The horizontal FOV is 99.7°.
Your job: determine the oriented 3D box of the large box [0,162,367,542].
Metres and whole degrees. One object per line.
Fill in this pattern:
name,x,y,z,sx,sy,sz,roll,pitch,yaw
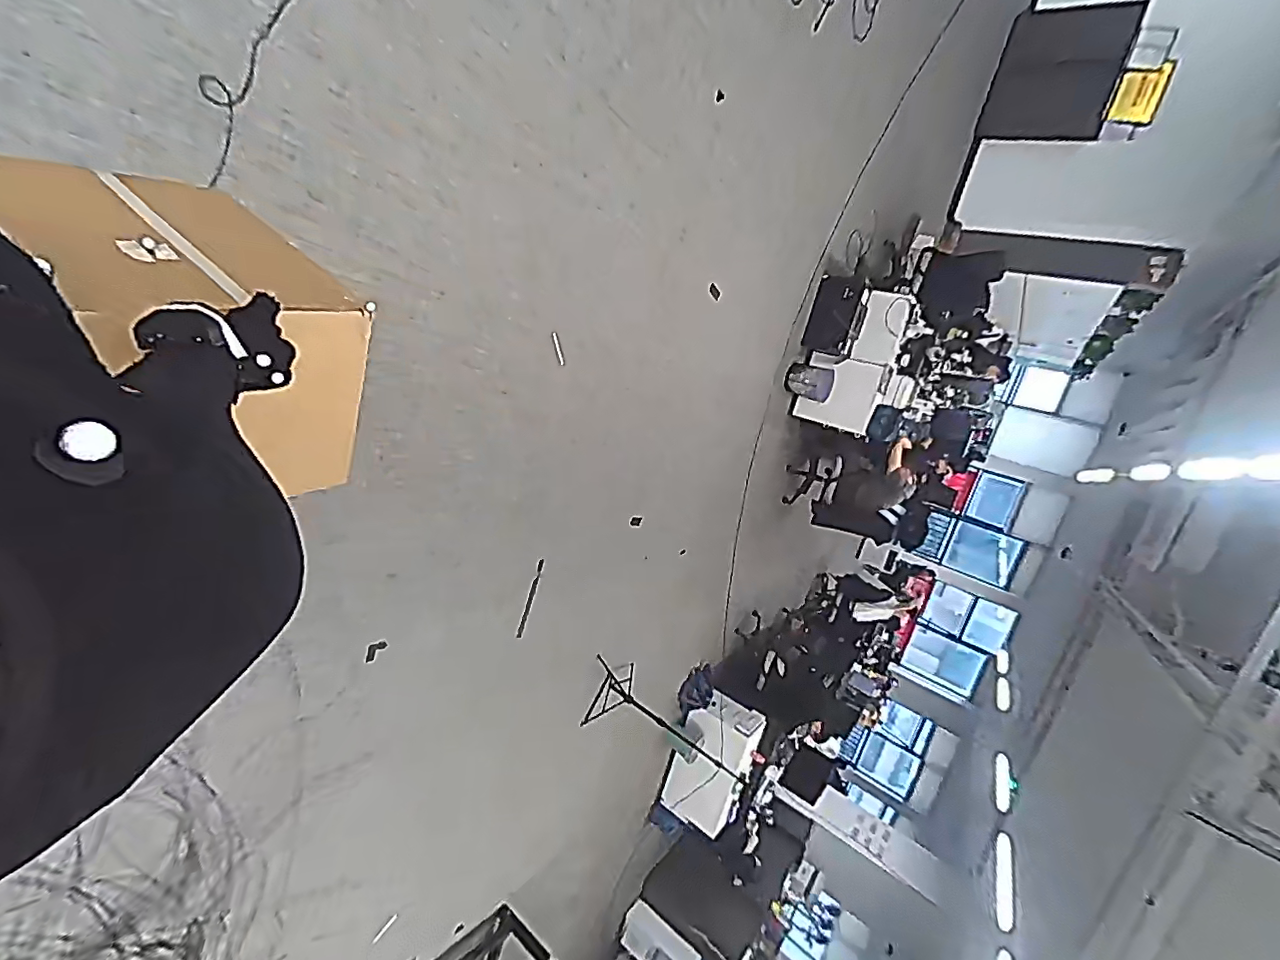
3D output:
large box,-0.674,-0.187,0.770,0.320,0.408,0.320,-26,150,-54
